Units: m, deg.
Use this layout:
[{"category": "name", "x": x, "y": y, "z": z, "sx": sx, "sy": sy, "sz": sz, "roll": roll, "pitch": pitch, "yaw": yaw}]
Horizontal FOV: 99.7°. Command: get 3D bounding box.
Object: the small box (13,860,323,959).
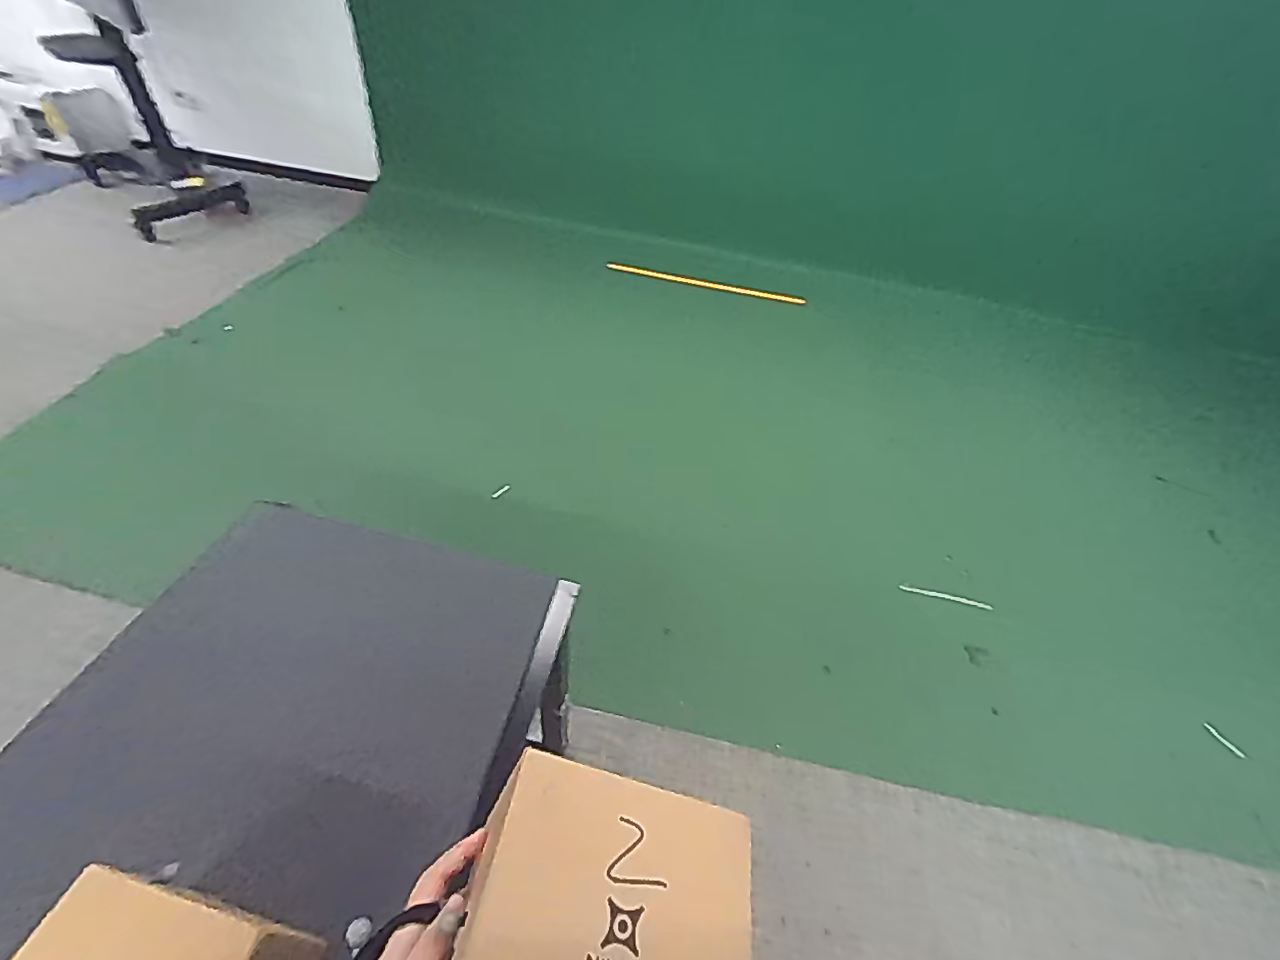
[{"category": "small box", "x": -0.420, "y": 0.461, "z": 0.462, "sx": 0.179, "sy": 0.176, "sz": 0.168, "roll": 14, "pitch": 46, "yaw": 6}]
